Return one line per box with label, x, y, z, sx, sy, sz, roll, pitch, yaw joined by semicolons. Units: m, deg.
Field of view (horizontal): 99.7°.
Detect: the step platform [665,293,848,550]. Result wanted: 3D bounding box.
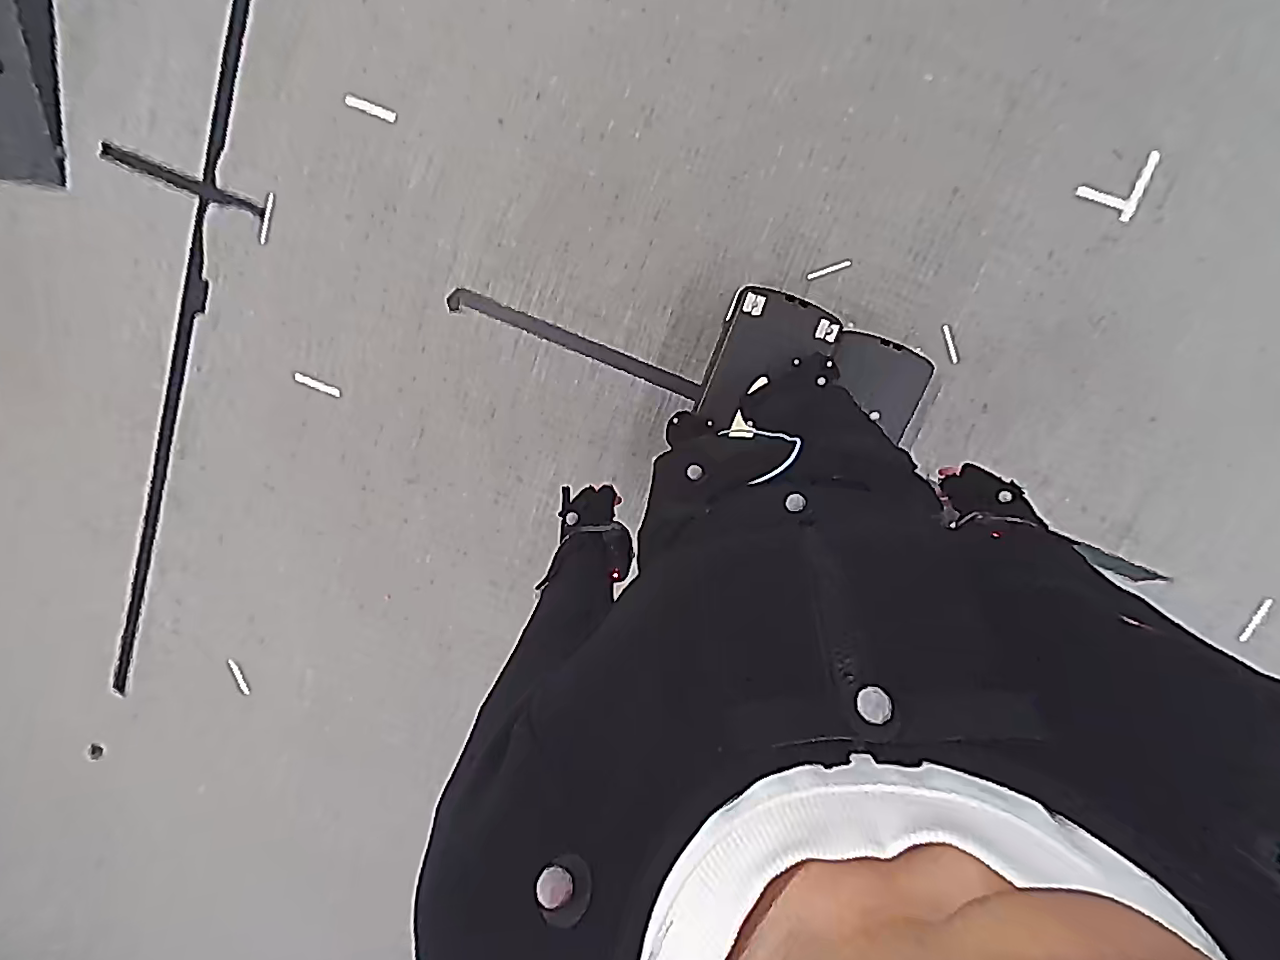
step platform;0.306;-0.152;1.499;0.286;0.204;0.684;20;101;0
